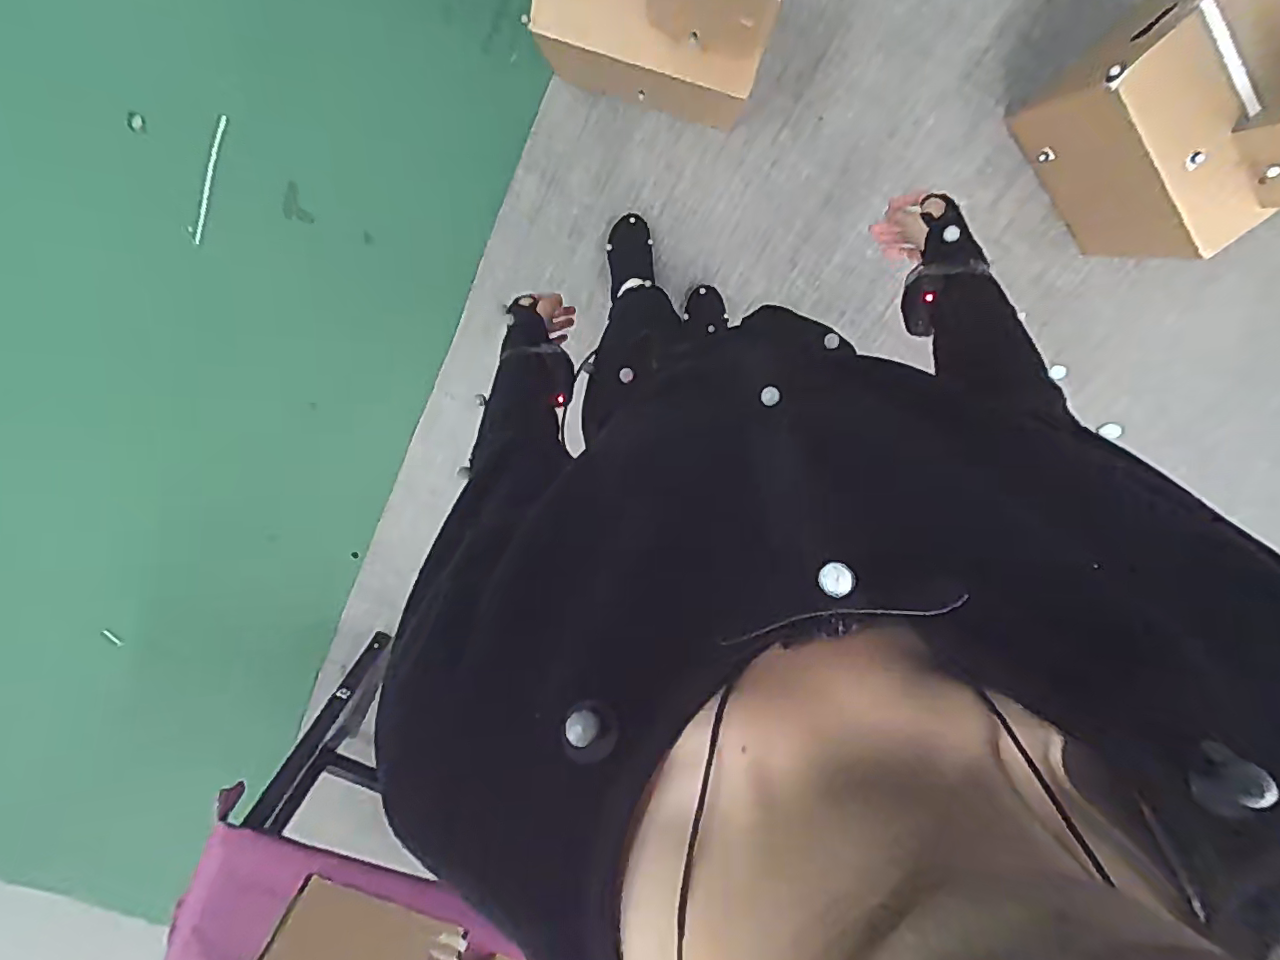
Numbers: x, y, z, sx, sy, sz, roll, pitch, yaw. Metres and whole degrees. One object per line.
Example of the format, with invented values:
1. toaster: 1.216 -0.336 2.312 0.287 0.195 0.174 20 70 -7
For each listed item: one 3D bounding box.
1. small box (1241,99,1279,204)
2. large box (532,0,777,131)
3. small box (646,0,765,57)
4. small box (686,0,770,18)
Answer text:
1. small box: 1.154 -0.574 0.864 0.179 0.176 0.168 -40 106 15
2. large box: 0.049 -0.913 1.028 0.408 0.320 0.320 15 112 -3
3. small box: 0.117 -0.780 0.816 0.179 0.176 0.168 18 113 -6
4. small box: 0.110 -0.713 0.665 0.179 0.176 0.168 15 113 -3
